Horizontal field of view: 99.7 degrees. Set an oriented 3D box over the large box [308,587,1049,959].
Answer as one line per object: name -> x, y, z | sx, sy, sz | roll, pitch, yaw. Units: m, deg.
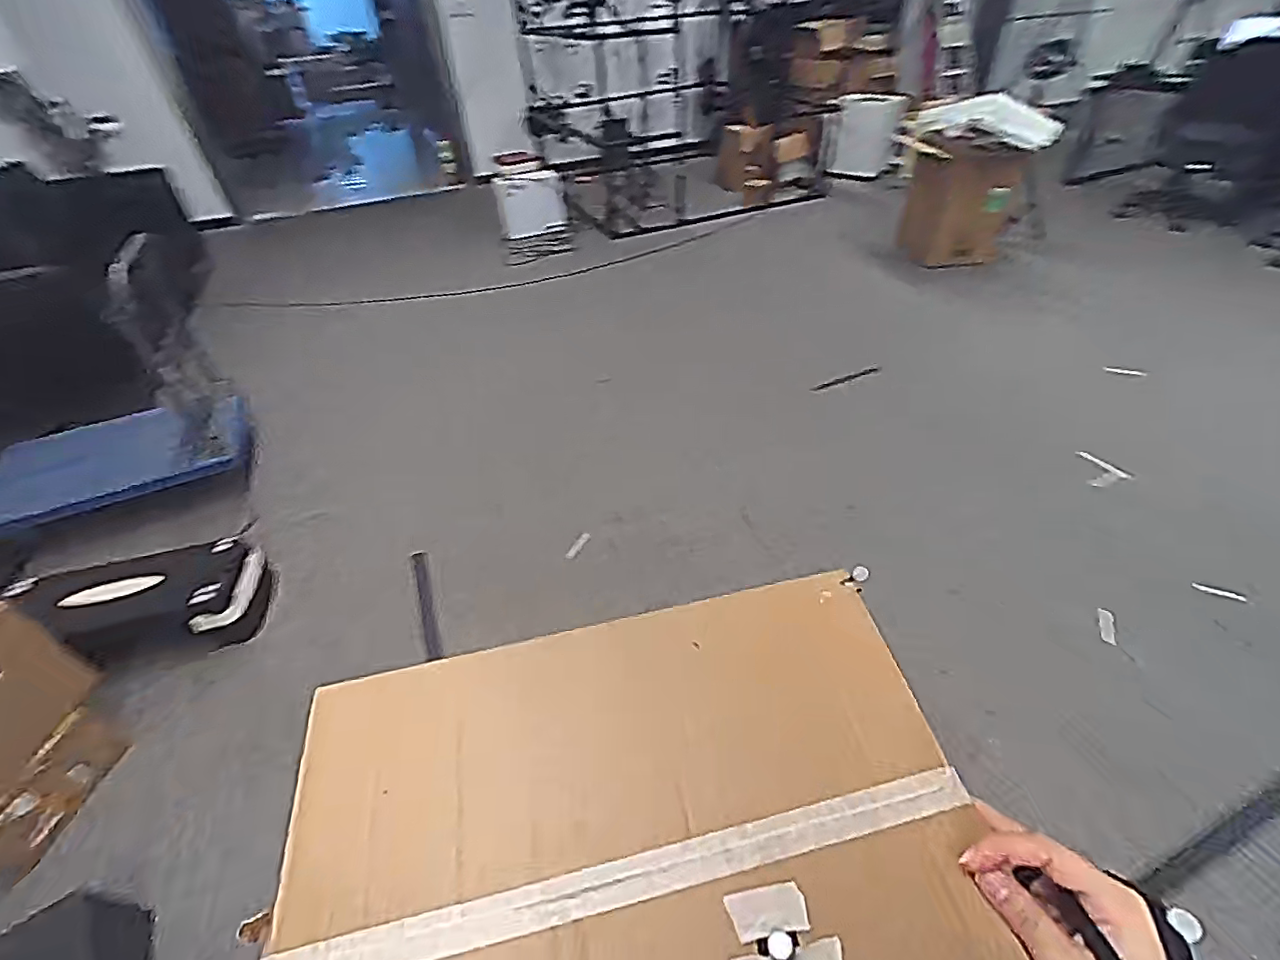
large box -> 0.014, 0.332, 0.428 | 0.408, 0.320, 0.320 | -11, 51, -6
